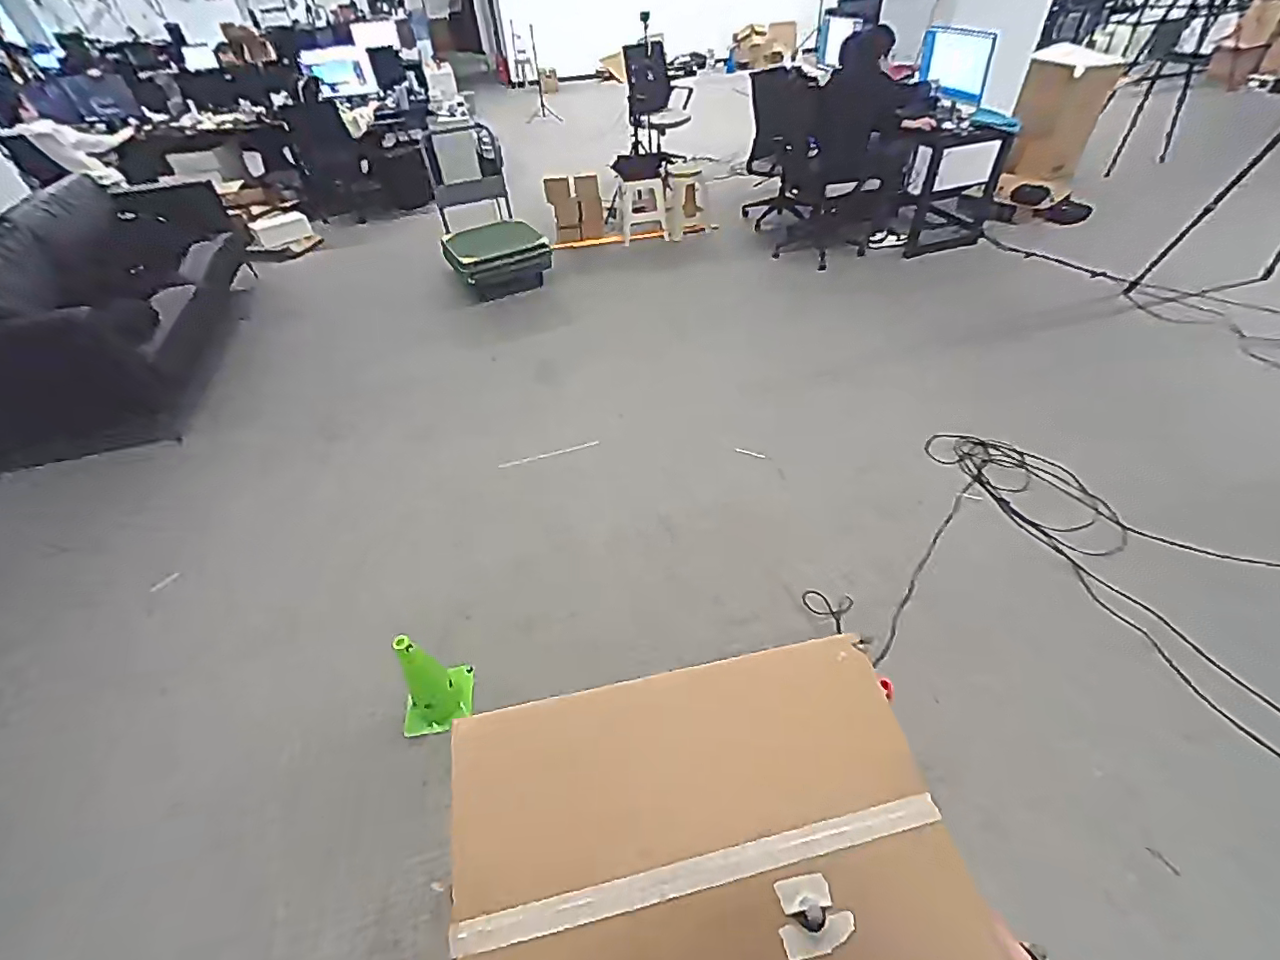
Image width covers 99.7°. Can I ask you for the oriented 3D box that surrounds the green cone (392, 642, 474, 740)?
[{"bbox_3d":[-0.630,0.569,1.557,0.200,0.368,0.202,-10,45,-5],"label":"green cone"}]

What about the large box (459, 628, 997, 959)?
[{"bbox_3d":[0.051,0.397,0.577,0.408,0.320,0.320,-10,57,-9],"label":"large box"}]
